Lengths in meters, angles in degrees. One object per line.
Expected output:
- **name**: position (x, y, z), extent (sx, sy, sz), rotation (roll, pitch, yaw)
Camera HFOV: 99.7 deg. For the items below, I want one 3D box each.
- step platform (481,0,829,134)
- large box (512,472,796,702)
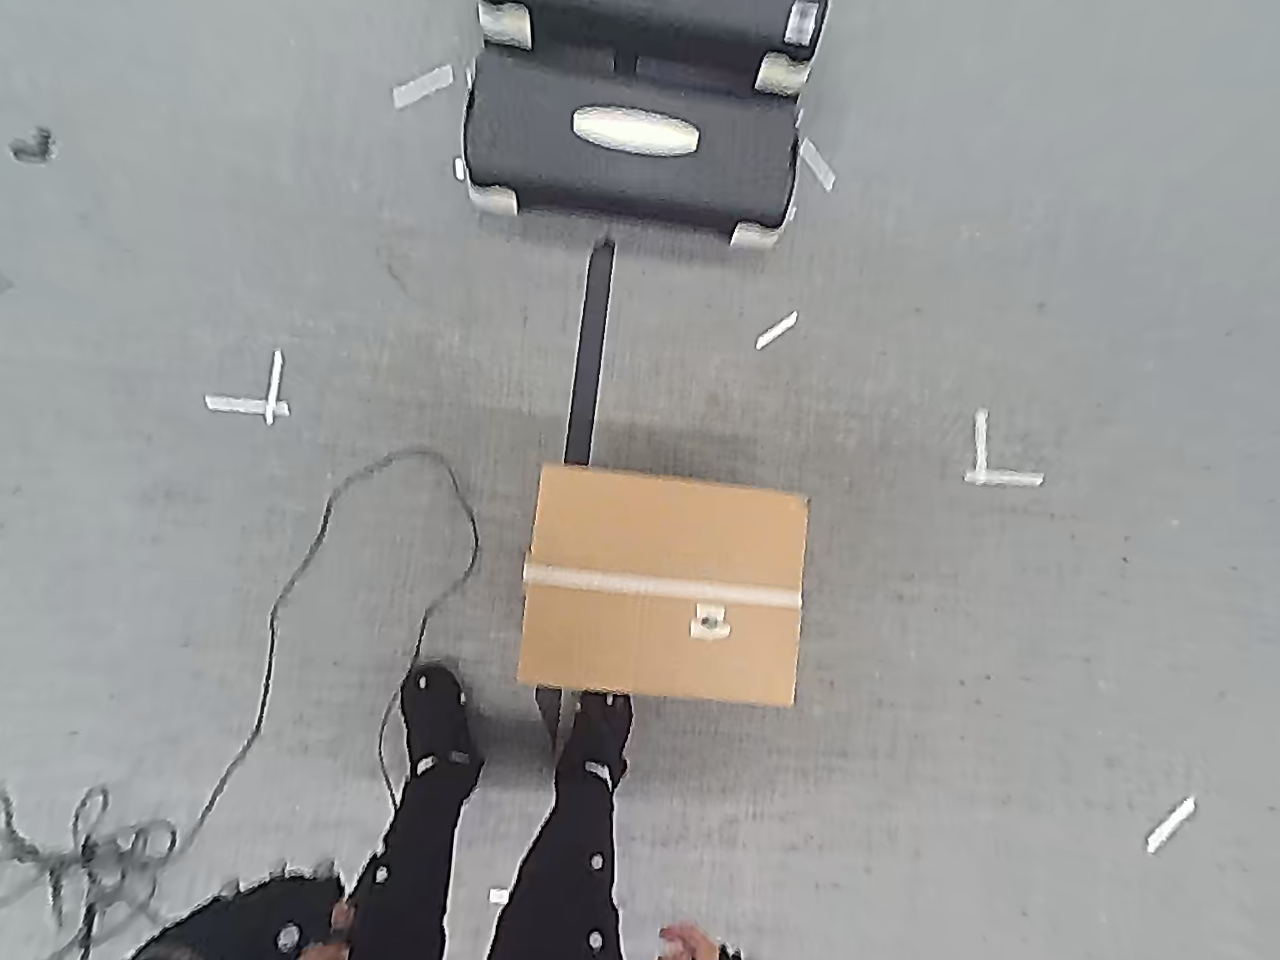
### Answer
- **step platform**: position (0.031, -0.968, 1.100), extent (0.684, 0.204, 0.286), rotation (12, 84, -4)
- **large box**: position (0.012, 0.171, 0.937), extent (0.408, 0.320, 0.320), rotation (6, 85, -5)
